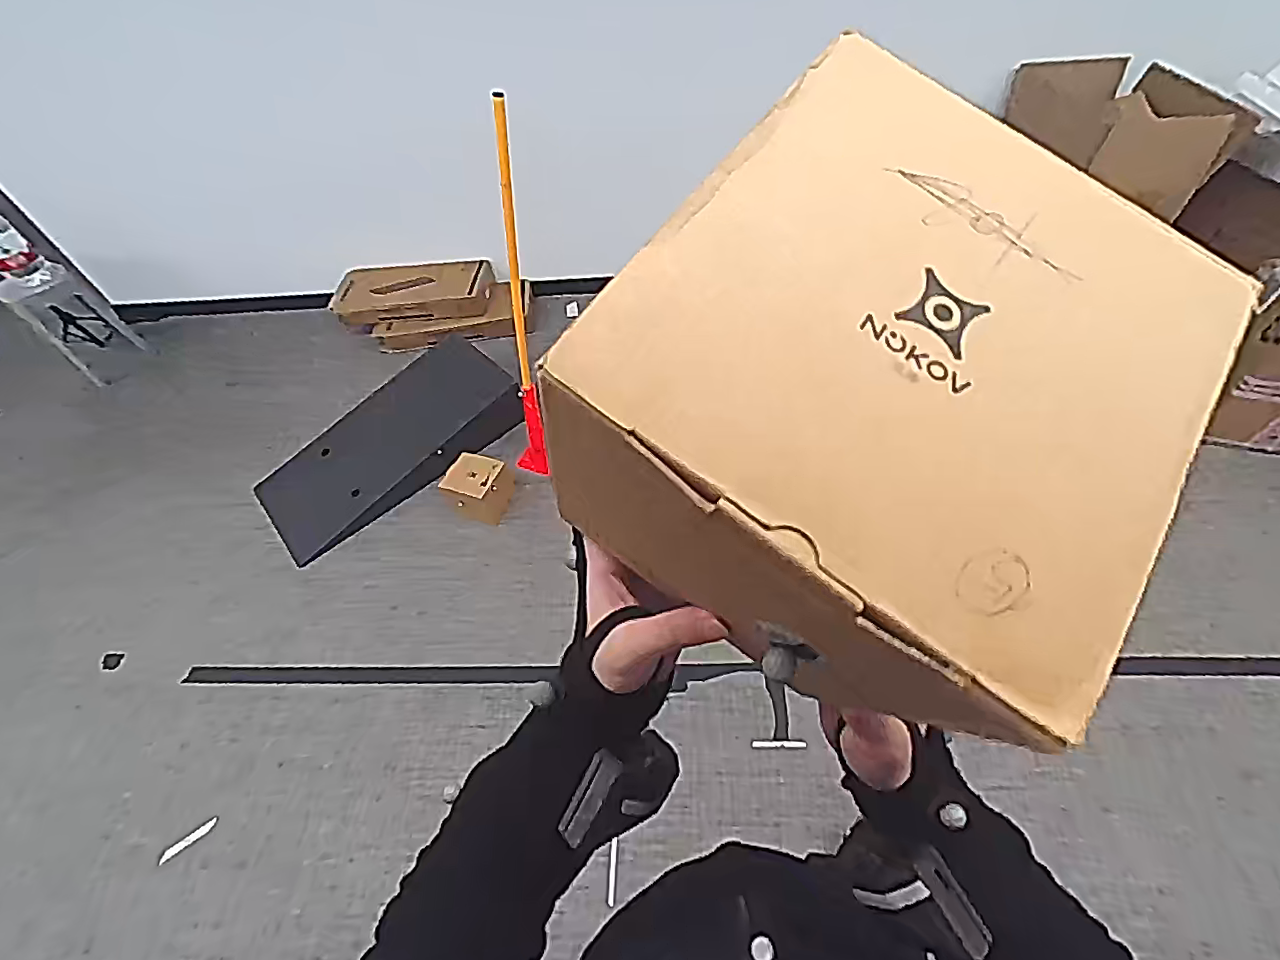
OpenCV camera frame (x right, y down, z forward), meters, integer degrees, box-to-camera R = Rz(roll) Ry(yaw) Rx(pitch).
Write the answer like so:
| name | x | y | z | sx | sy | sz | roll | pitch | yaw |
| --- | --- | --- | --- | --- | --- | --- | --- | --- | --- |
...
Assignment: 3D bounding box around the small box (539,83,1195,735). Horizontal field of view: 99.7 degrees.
| name | x | y | z | sx | sy | sz | roll | pitch | yaw |
| --- | --- | --- | --- | --- | --- | --- | --- | --- | --- |
| small box | 0.076 | -0.018 | 0.252 | 0.168 | 0.176 | 0.179 | 36 | 72 | 5 |
